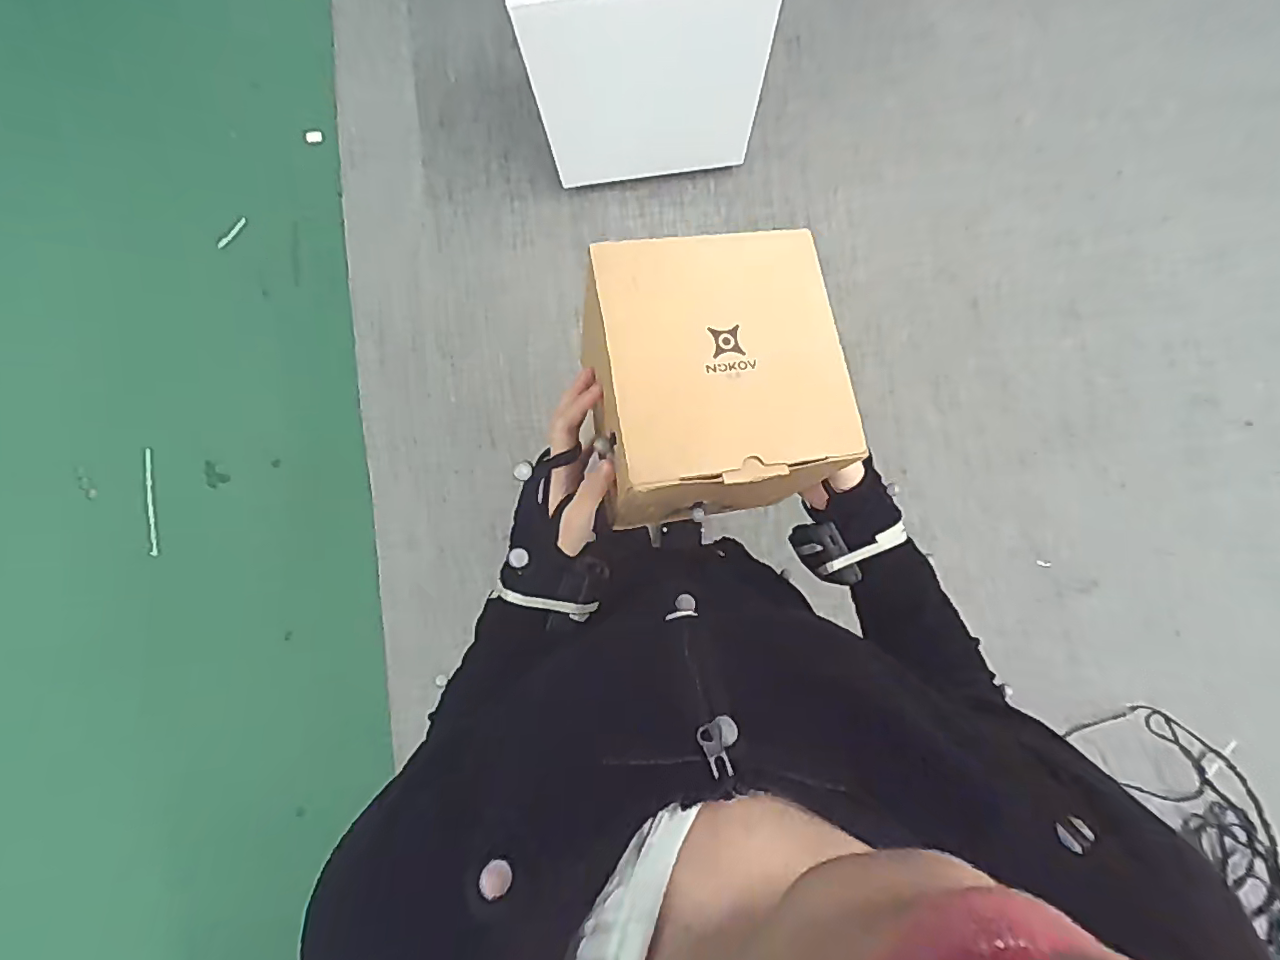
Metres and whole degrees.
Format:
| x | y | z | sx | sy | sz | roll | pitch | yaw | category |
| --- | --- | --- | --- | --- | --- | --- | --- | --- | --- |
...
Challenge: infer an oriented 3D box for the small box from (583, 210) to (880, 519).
| x | y | z | sx | sy | sz | roll | pitch | yaw | category |
| --- | --- | --- | --- | --- | --- | --- | --- | --- | --- |
| 0.049 | -0.079 | 0.427 | 0.168 | 0.176 | 0.179 | -9 | 77 | -10 | small box |
